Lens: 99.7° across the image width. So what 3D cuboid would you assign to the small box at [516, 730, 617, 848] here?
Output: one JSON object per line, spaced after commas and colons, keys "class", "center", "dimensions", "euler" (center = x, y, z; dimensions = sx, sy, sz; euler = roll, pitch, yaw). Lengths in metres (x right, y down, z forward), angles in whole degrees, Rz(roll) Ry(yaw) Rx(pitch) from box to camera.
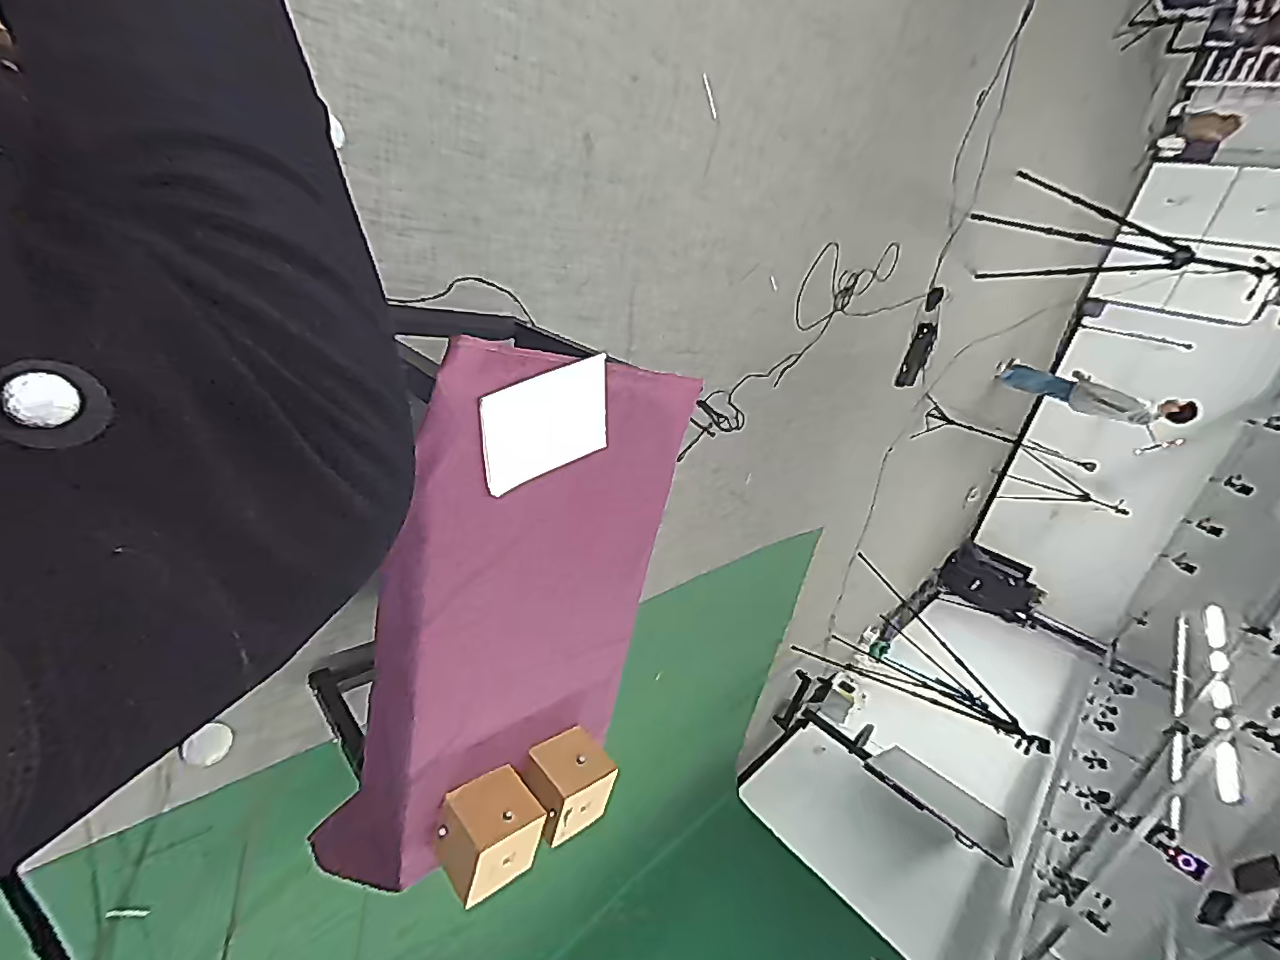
{"class": "small box", "center": [-0.193, 0.788, 1.403], "dimensions": [0.179, 0.176, 0.168], "euler": [-4, 116, -48]}
